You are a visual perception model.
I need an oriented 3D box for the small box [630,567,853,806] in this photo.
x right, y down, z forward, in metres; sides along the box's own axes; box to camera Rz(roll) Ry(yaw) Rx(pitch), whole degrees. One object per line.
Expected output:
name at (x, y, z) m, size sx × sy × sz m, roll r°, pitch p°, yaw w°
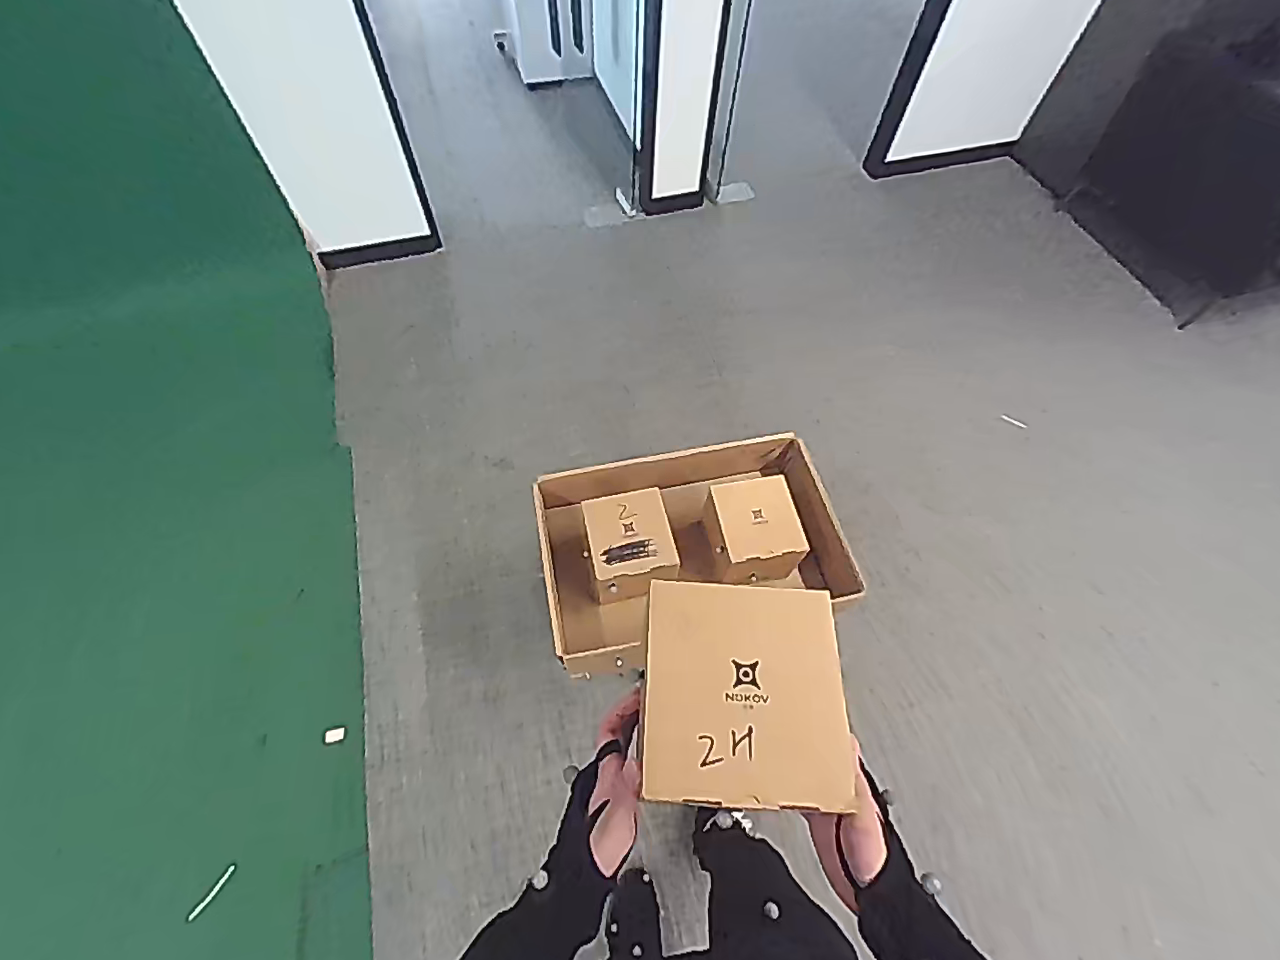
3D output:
small box at (0.078, 0.199, 0.510) m, size 0.168 × 0.176 × 0.179 m, roll 3°, pitch 59°, yaw 0°

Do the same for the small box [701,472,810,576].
small box at (0.236, 0.107, 1.161) m, size 0.168 × 0.176 × 0.179 m, roll -9°, pitch 62°, yaw -7°
